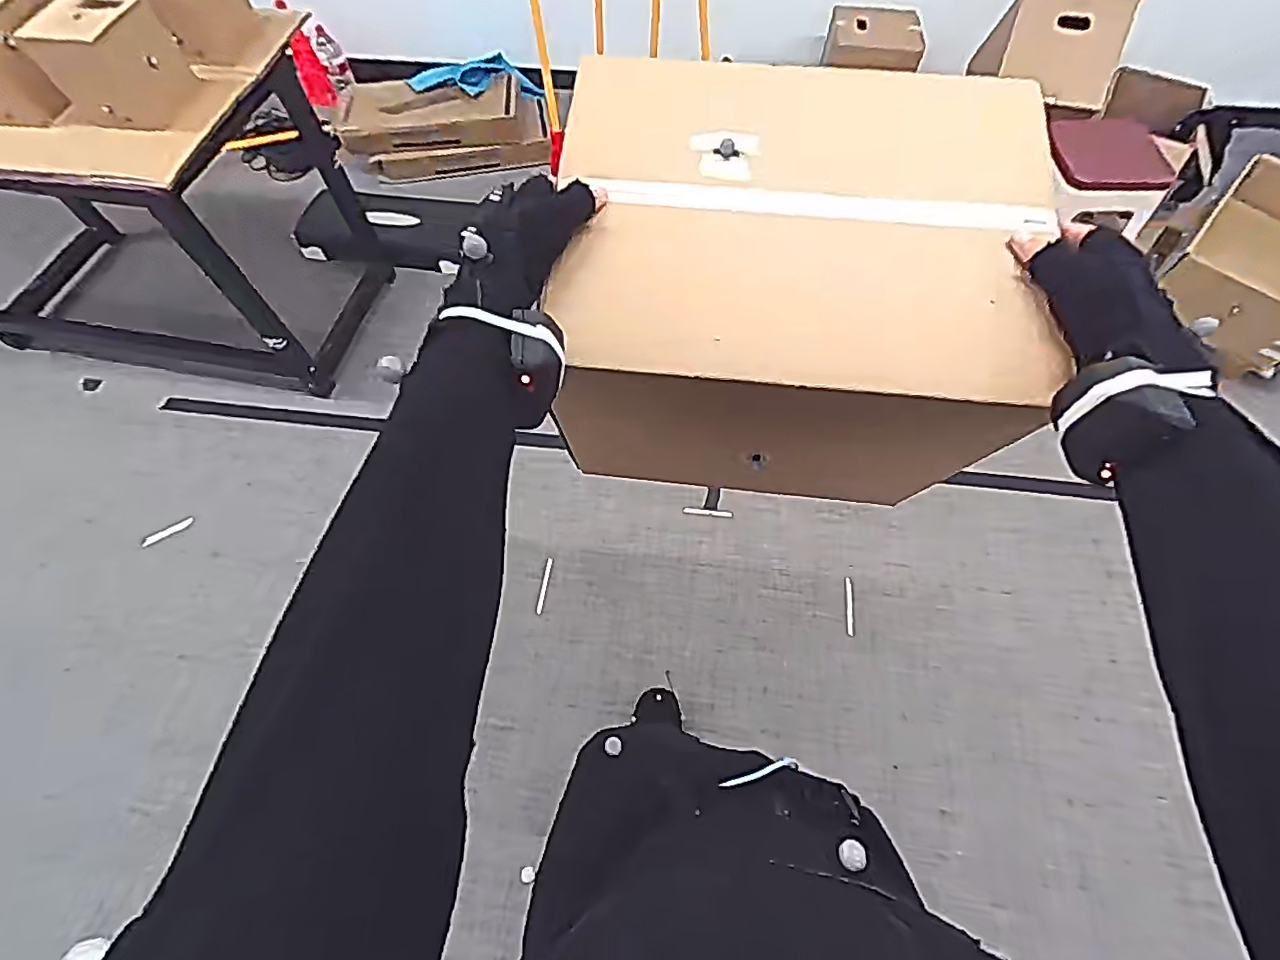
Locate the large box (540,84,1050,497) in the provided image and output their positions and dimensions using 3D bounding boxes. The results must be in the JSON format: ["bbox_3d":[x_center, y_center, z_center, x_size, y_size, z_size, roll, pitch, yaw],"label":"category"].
[{"bbox_3d":[0.139,-0.176,0.605,0.408,0.320,0.320,6,73,4],"label":"large box"}]
